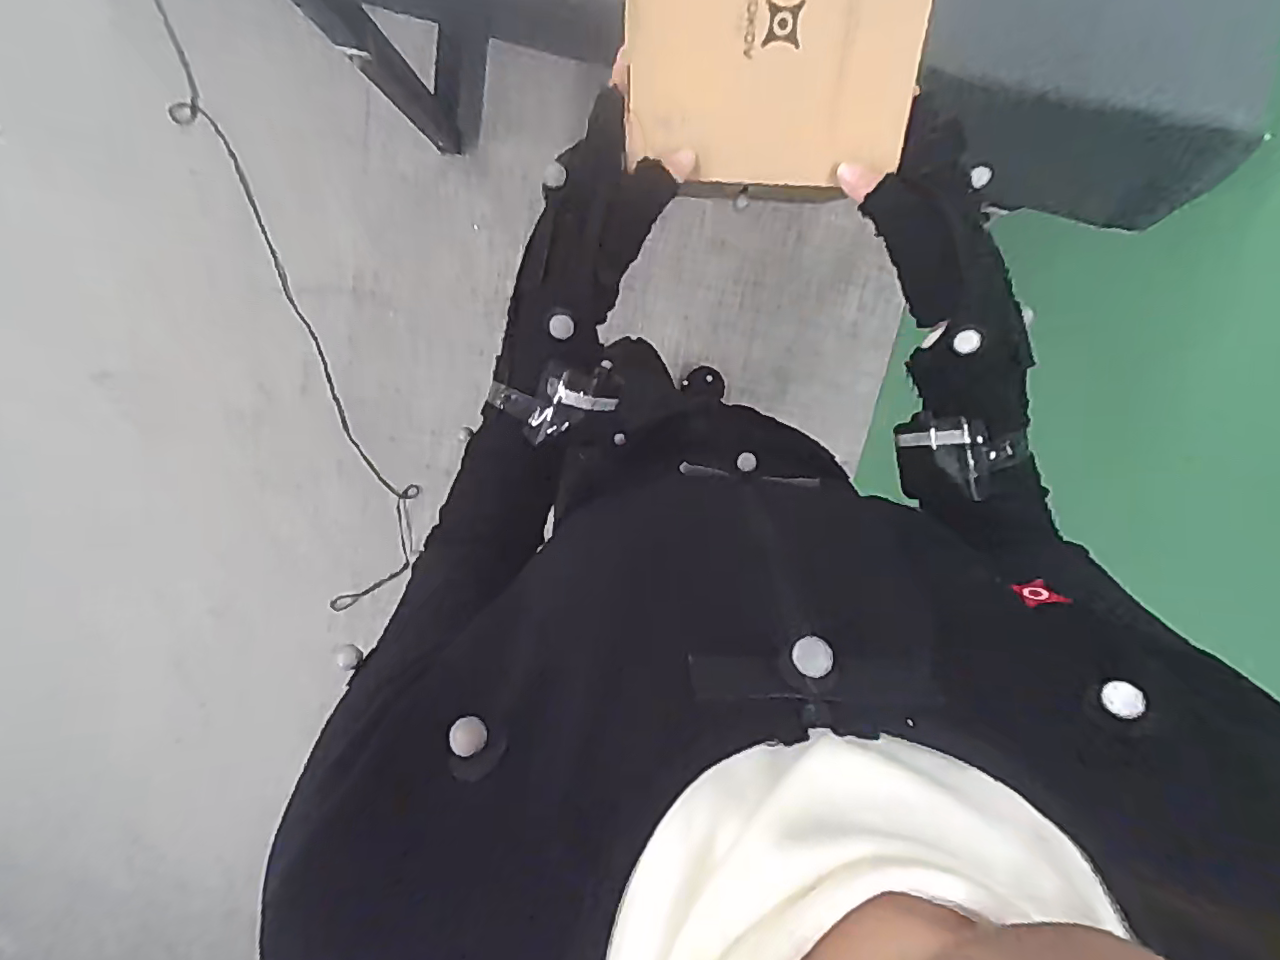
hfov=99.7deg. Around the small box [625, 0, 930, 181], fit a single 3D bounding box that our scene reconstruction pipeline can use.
[{"bbox_3d":[0.083,-0.311,0.384,0.179,0.176,0.168,2,116,2],"label":"small box"}]
